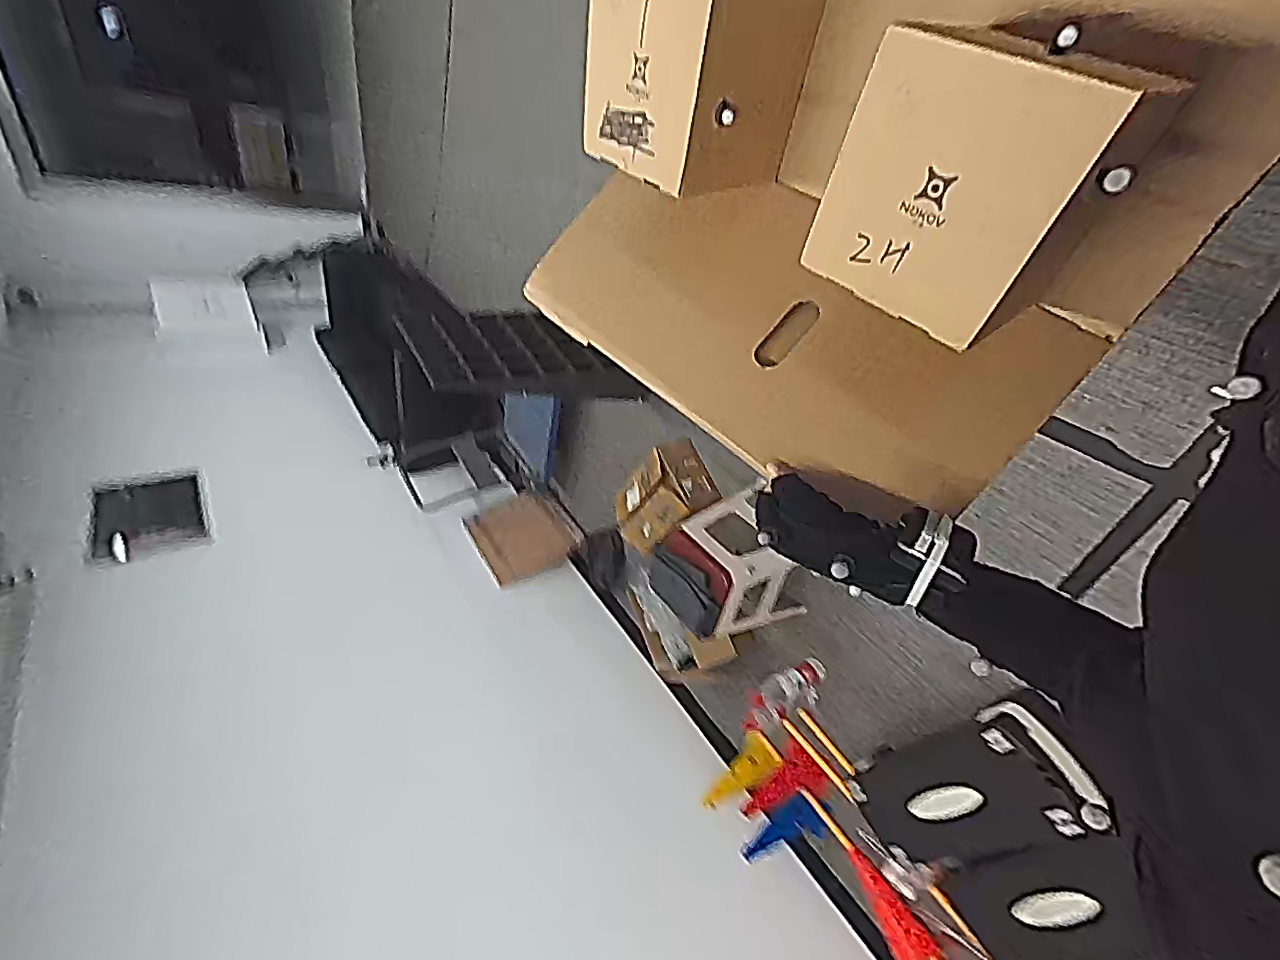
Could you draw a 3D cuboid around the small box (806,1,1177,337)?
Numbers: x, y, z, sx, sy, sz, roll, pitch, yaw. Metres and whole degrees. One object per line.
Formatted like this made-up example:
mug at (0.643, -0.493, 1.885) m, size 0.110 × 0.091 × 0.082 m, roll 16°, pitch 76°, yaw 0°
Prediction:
small box at (0.277, -0.253, 0.442) m, size 0.168 × 0.176 × 0.179 m, roll 45°, pitch 145°, yaw 24°
